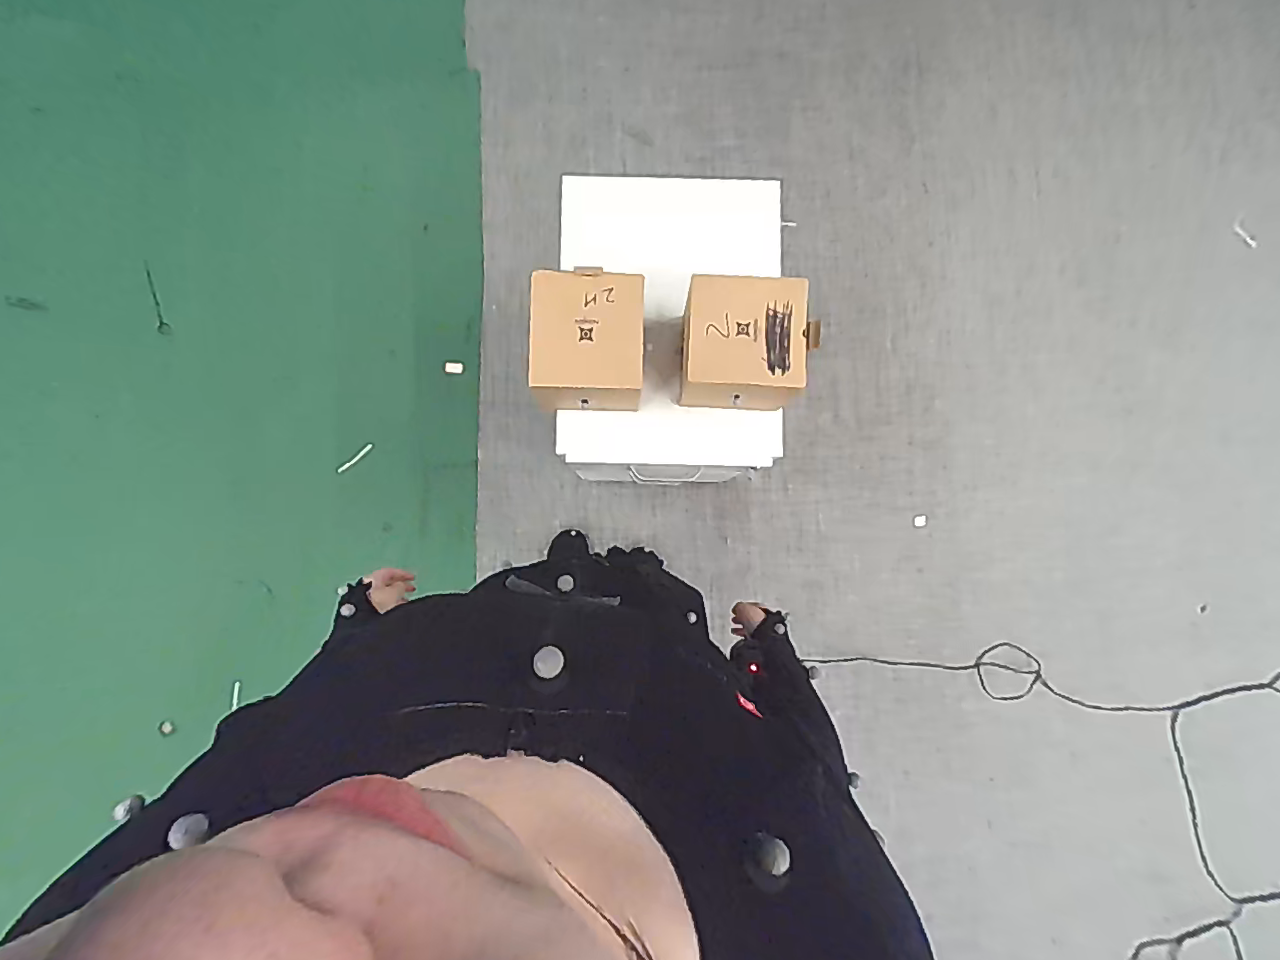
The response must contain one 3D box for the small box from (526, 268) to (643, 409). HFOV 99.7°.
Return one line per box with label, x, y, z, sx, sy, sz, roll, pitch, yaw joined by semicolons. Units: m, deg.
small box;-0.083;-0.213;0.861;0.168;0.176;0.179;2;86;-3
